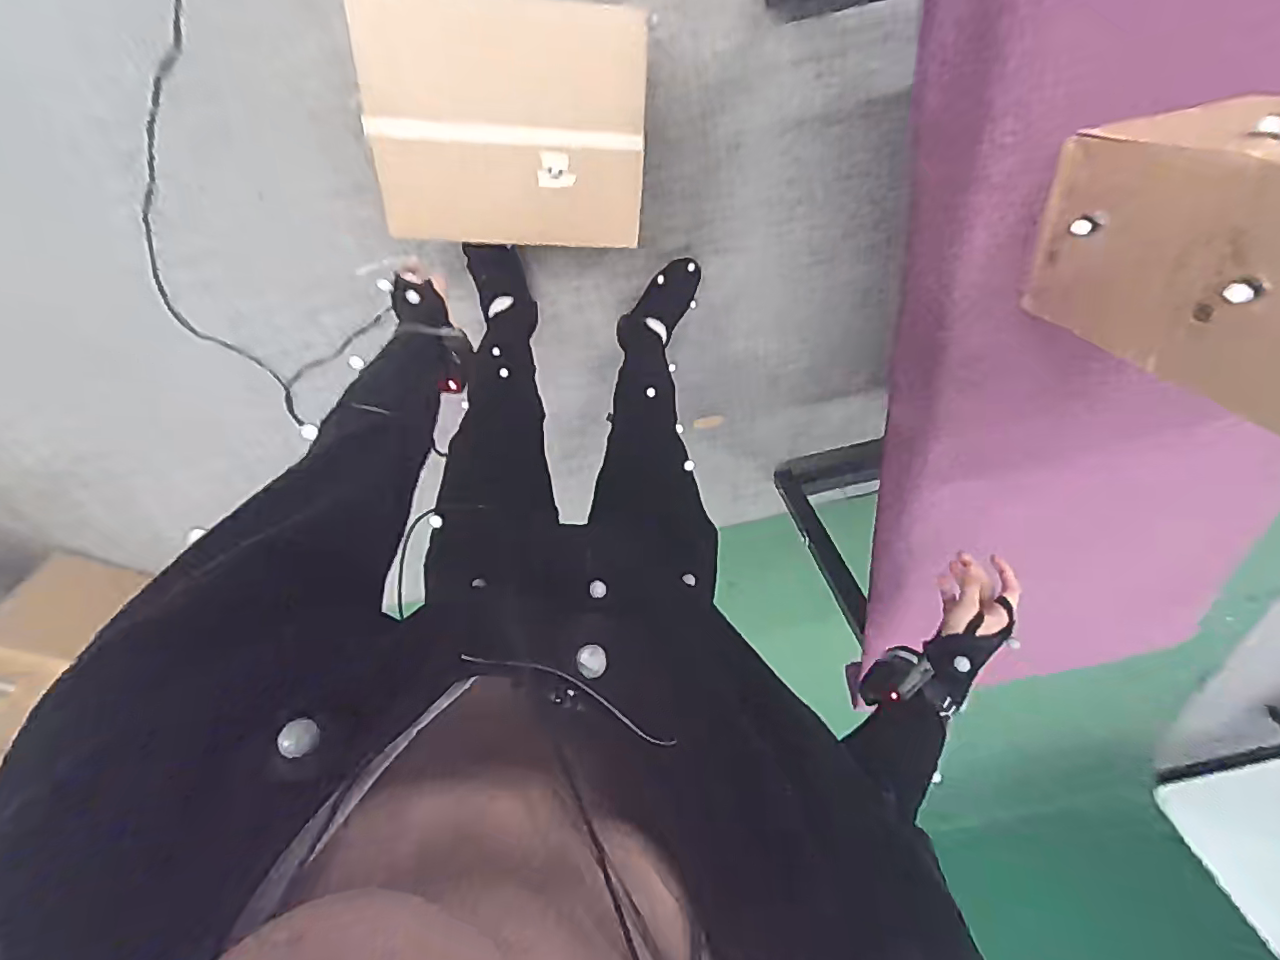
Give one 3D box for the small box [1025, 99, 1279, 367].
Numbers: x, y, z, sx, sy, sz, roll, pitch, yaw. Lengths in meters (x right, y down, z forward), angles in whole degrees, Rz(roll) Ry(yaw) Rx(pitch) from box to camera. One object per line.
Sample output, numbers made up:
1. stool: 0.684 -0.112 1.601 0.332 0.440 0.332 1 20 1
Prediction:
1. small box: 0.501 -0.225 0.481 0.179 0.176 0.168 -11 127 1
